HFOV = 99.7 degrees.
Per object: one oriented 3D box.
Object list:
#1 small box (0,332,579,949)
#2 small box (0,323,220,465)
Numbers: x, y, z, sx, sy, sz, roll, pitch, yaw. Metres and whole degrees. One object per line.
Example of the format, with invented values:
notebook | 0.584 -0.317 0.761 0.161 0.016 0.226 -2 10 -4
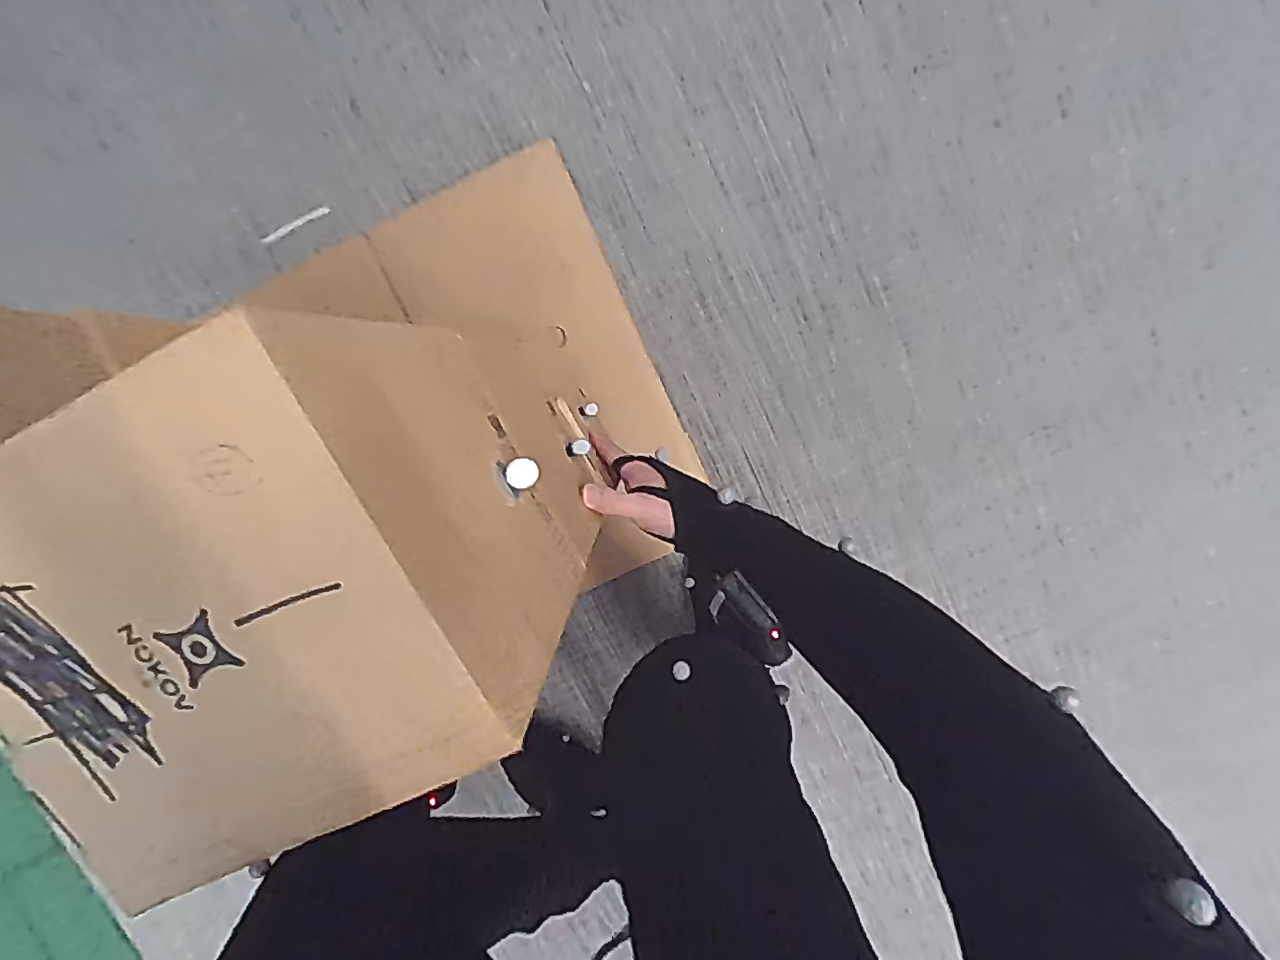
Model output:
small box | -0.147 0.048 0.253 0.179 0.176 0.168 -26 101 7
small box | -0.512 -0.046 0.563 0.179 0.176 0.168 -23 98 5
